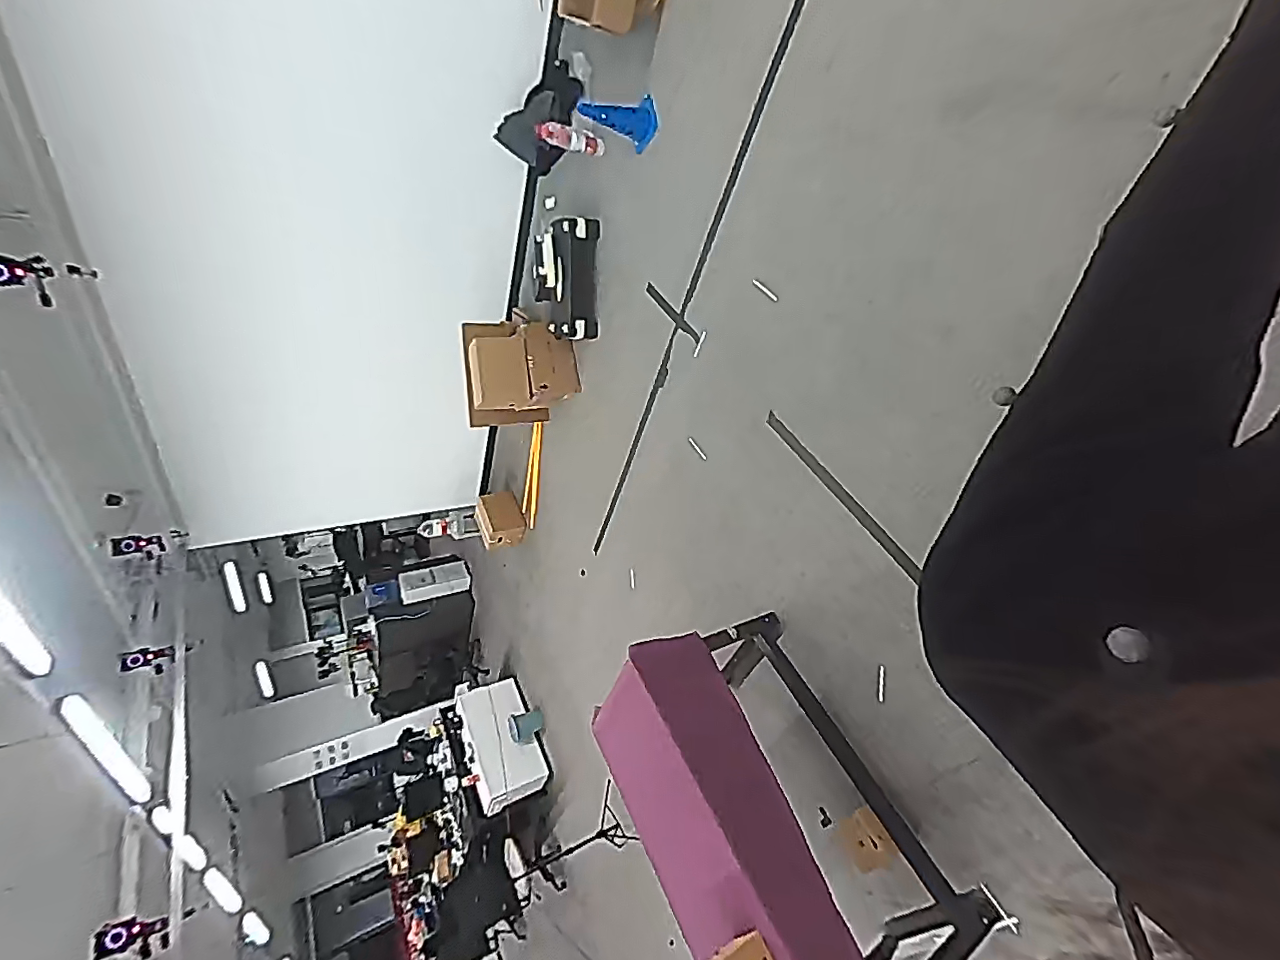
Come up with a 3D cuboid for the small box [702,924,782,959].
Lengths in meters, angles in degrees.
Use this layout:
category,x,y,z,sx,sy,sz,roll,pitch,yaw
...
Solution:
category,x,y,z,sx,sy,sz,roll,pitch,yaw
small box,0.299,1.392,1.514,0.168,0.176,0.179,57,141,33
